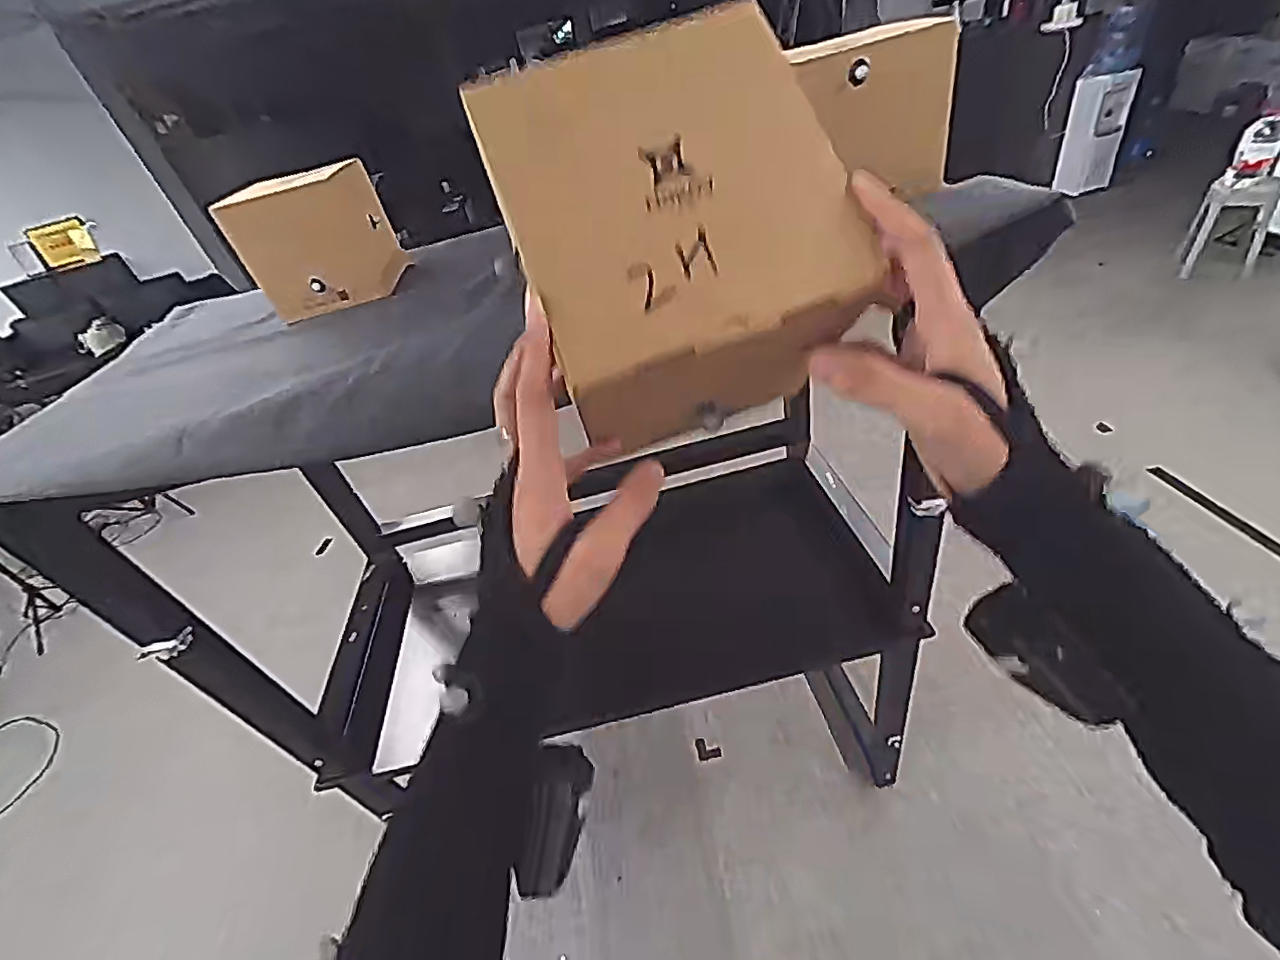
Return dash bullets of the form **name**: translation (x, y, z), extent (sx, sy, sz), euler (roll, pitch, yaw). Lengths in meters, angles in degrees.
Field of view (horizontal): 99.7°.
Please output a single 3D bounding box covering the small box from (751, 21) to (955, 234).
- **small box**: translation (0.237, -0.409, 0.641), extent (0.168, 0.176, 0.179), euler (-13, 37, 4)
